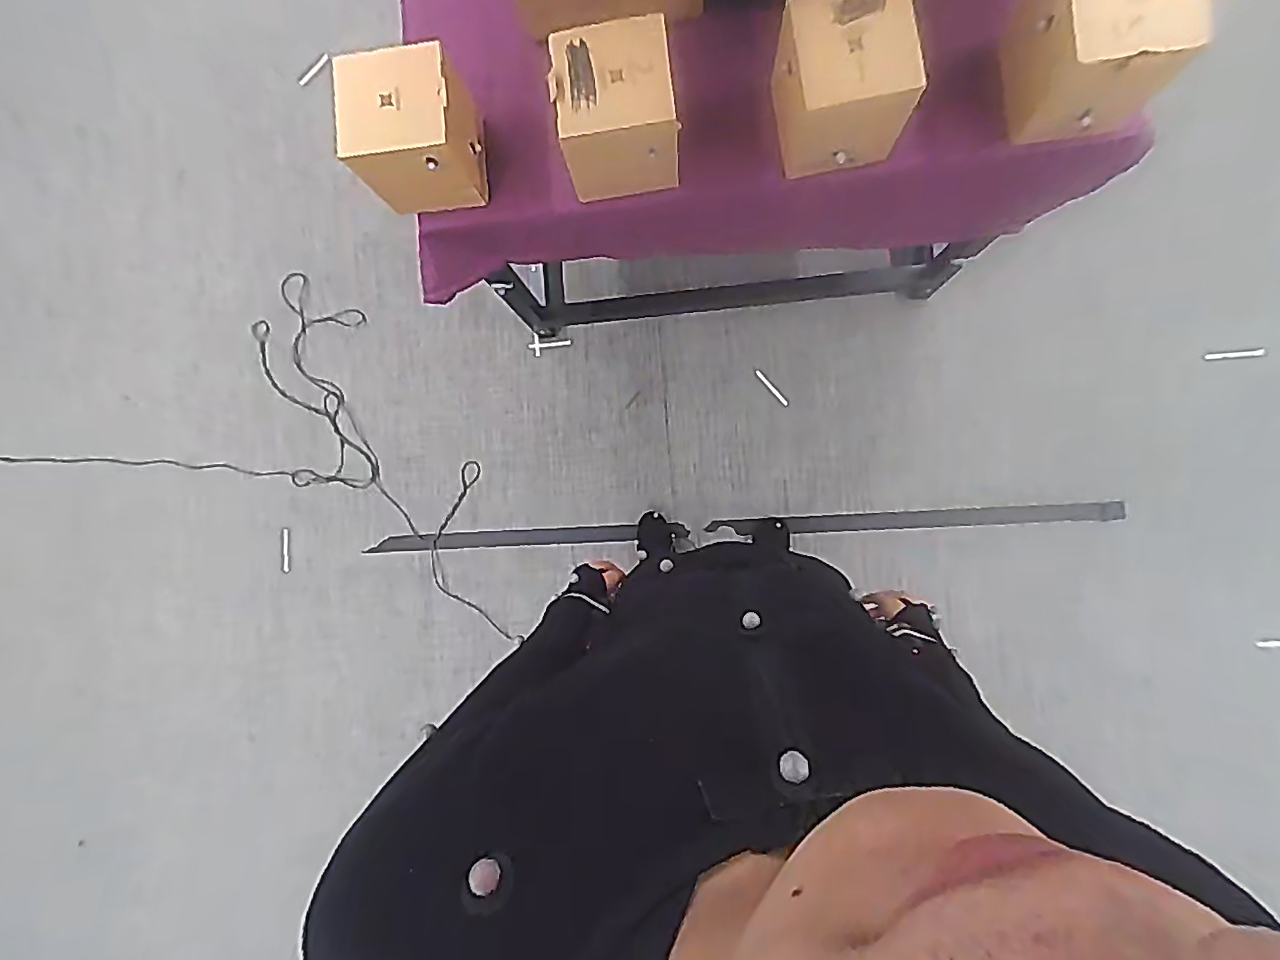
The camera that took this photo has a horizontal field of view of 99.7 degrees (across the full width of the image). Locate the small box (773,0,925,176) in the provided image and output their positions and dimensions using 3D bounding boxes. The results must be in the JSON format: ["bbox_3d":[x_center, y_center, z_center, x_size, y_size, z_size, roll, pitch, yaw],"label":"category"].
[{"bbox_3d":[0.309,-0.612,0.834,0.168,0.176,0.179,-8,88,6],"label":"small box"}]

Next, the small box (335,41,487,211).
[{"bbox_3d":[-0.371,-0.572,0.899,0.179,0.176,0.168,-5,87,4],"label":"small box"}]

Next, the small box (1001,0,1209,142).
[{"bbox_3d":[0.666,-0.645,0.798,0.168,0.176,0.179,-4,87,7],"label":"small box"}]
